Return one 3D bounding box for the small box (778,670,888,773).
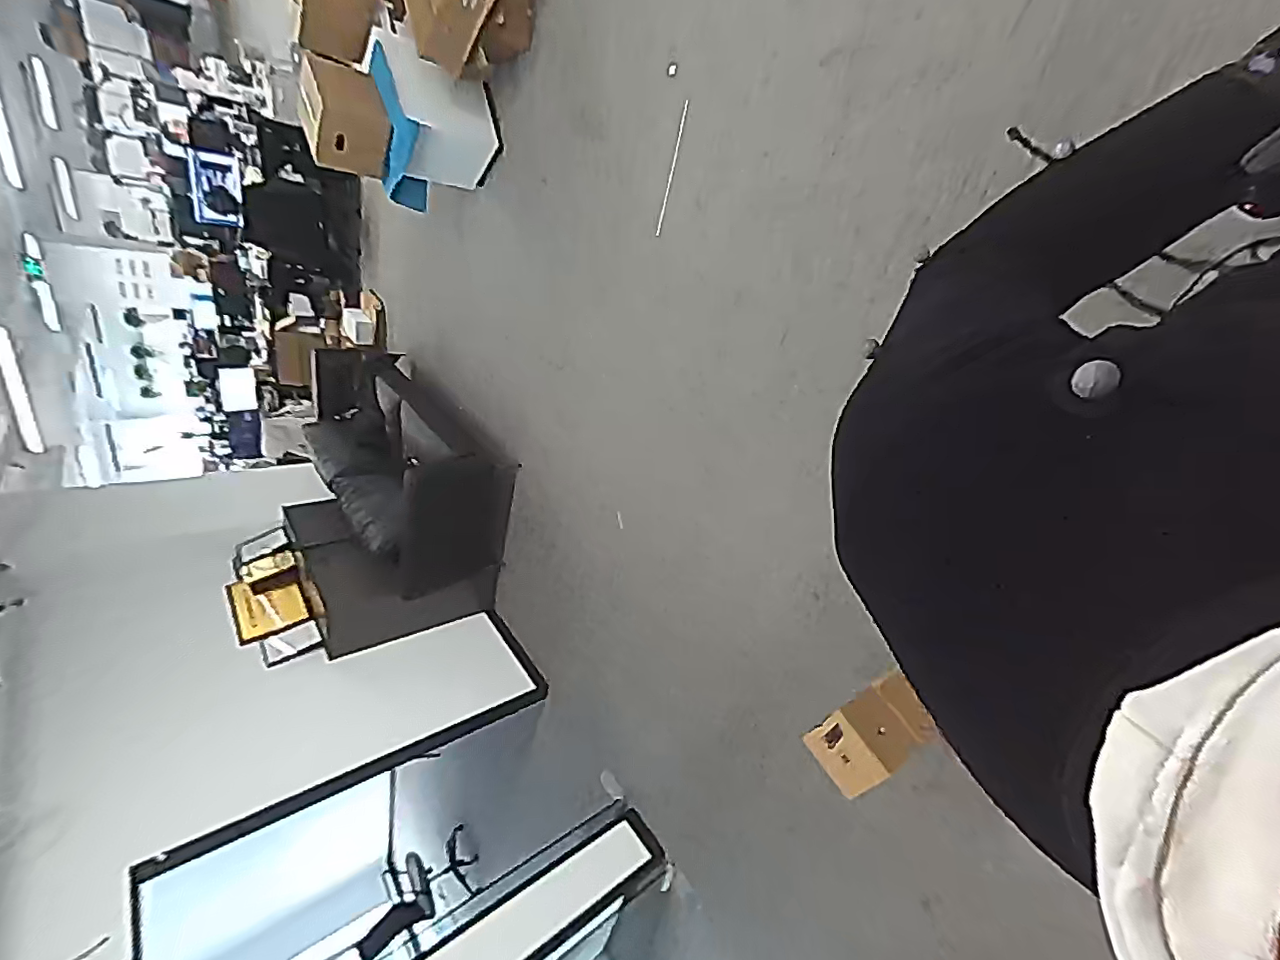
[{"bbox_3d":[0.512,0.631,1.436,0.179,0.176,0.168,52,133,26],"label":"small box"}]

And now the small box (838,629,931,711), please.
[{"bbox_3d":[0.754,0.581,1.652,0.168,0.176,0.179,58,136,22],"label":"small box"}]
